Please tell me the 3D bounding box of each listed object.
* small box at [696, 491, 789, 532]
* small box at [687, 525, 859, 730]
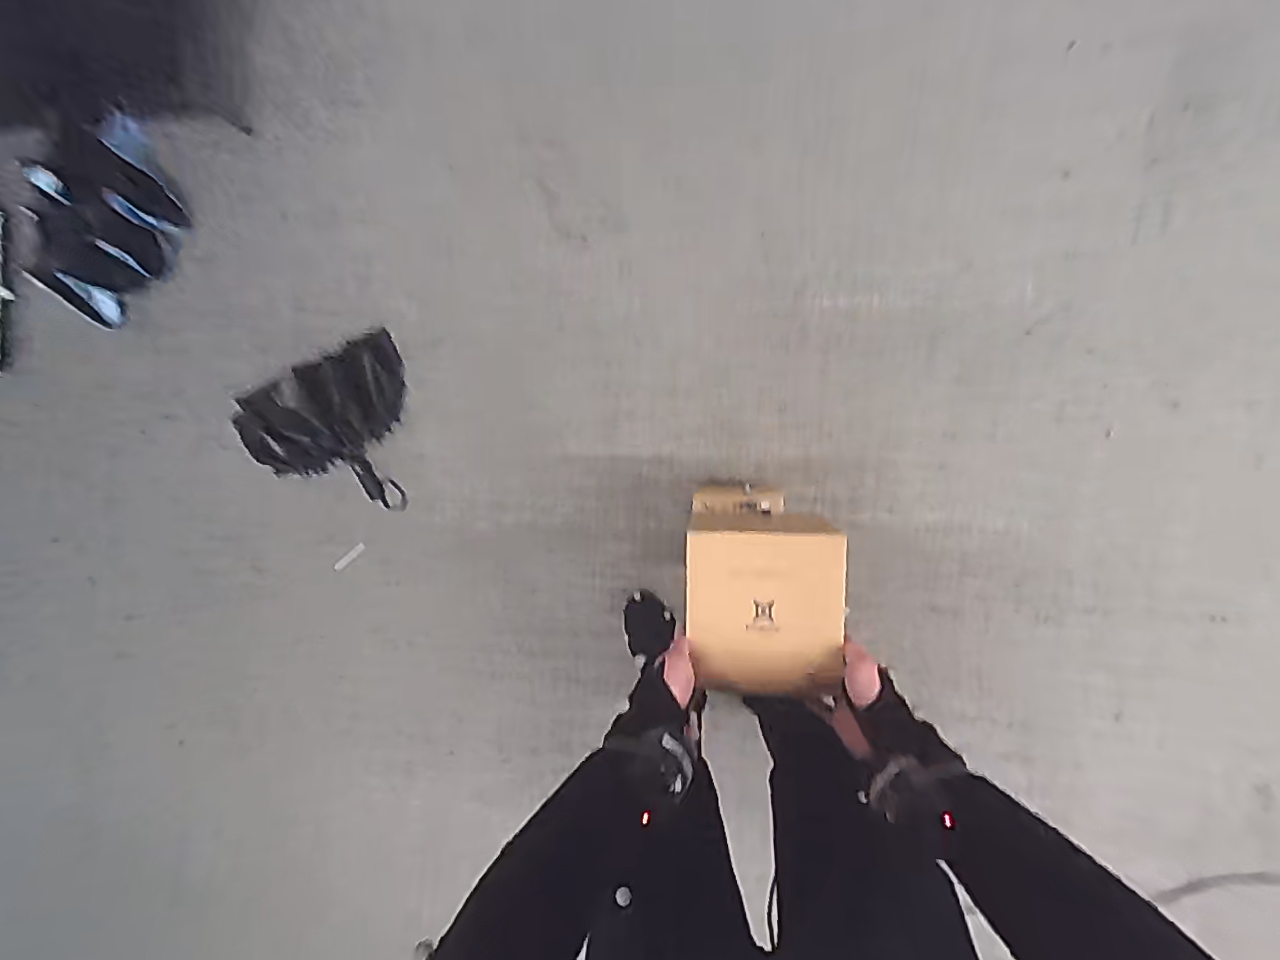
[{"bbox_3d":[0.197,0.120,1.047,0.168,0.176,0.179,-1,96,10],"label":"small box"},{"bbox_3d":[0.140,0.153,0.613,0.168,0.176,0.179,0,95,8],"label":"small box"}]
